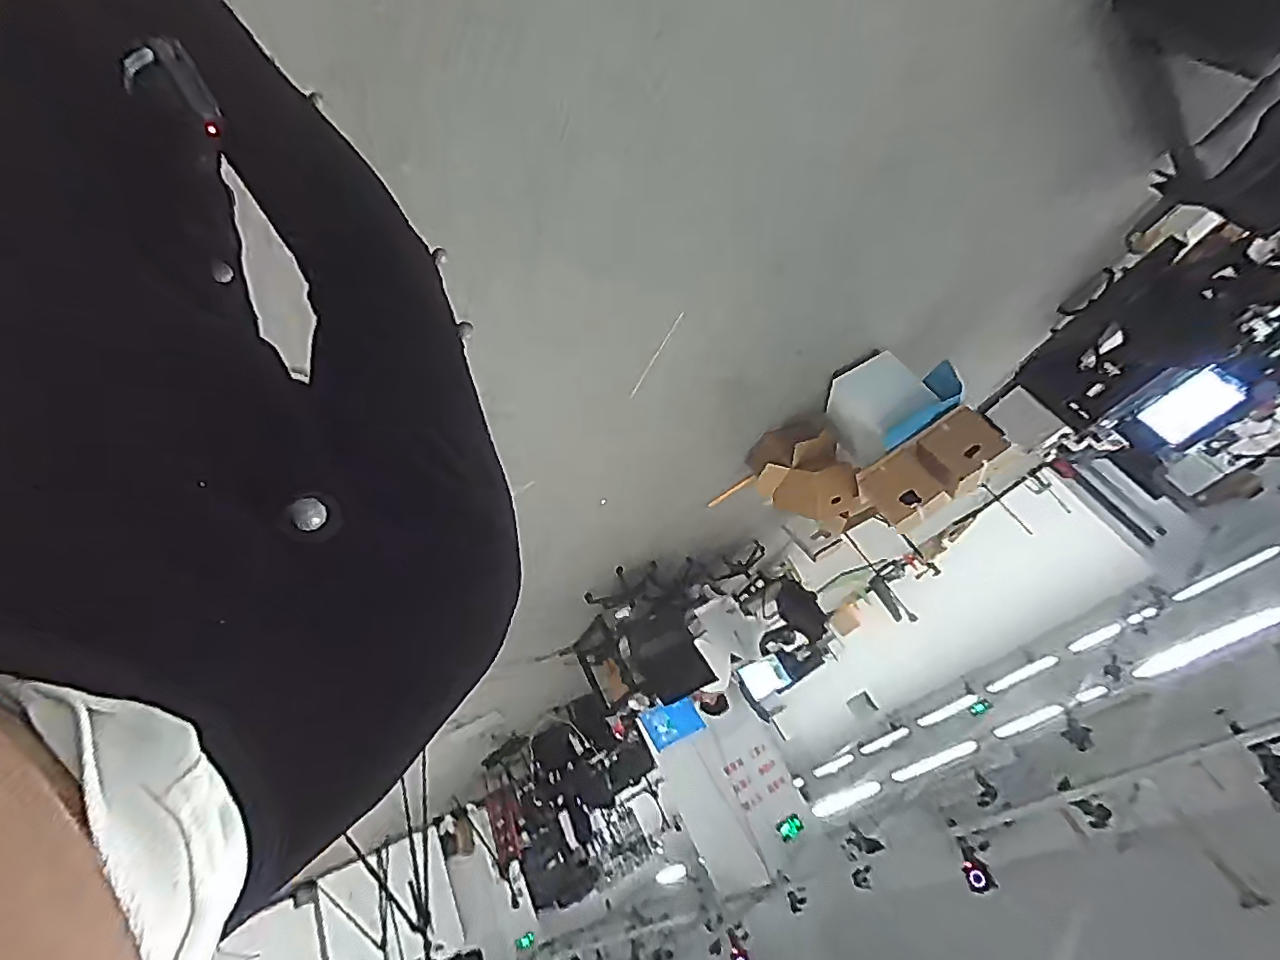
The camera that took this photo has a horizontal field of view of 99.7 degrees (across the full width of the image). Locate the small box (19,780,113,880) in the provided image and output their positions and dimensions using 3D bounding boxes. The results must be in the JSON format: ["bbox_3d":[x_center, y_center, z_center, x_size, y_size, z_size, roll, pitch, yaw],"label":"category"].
[{"bbox_3d":[-1.610,0.980,1.526,0.168,0.176,0.179,-4,142,-41],"label":"small box"}]
